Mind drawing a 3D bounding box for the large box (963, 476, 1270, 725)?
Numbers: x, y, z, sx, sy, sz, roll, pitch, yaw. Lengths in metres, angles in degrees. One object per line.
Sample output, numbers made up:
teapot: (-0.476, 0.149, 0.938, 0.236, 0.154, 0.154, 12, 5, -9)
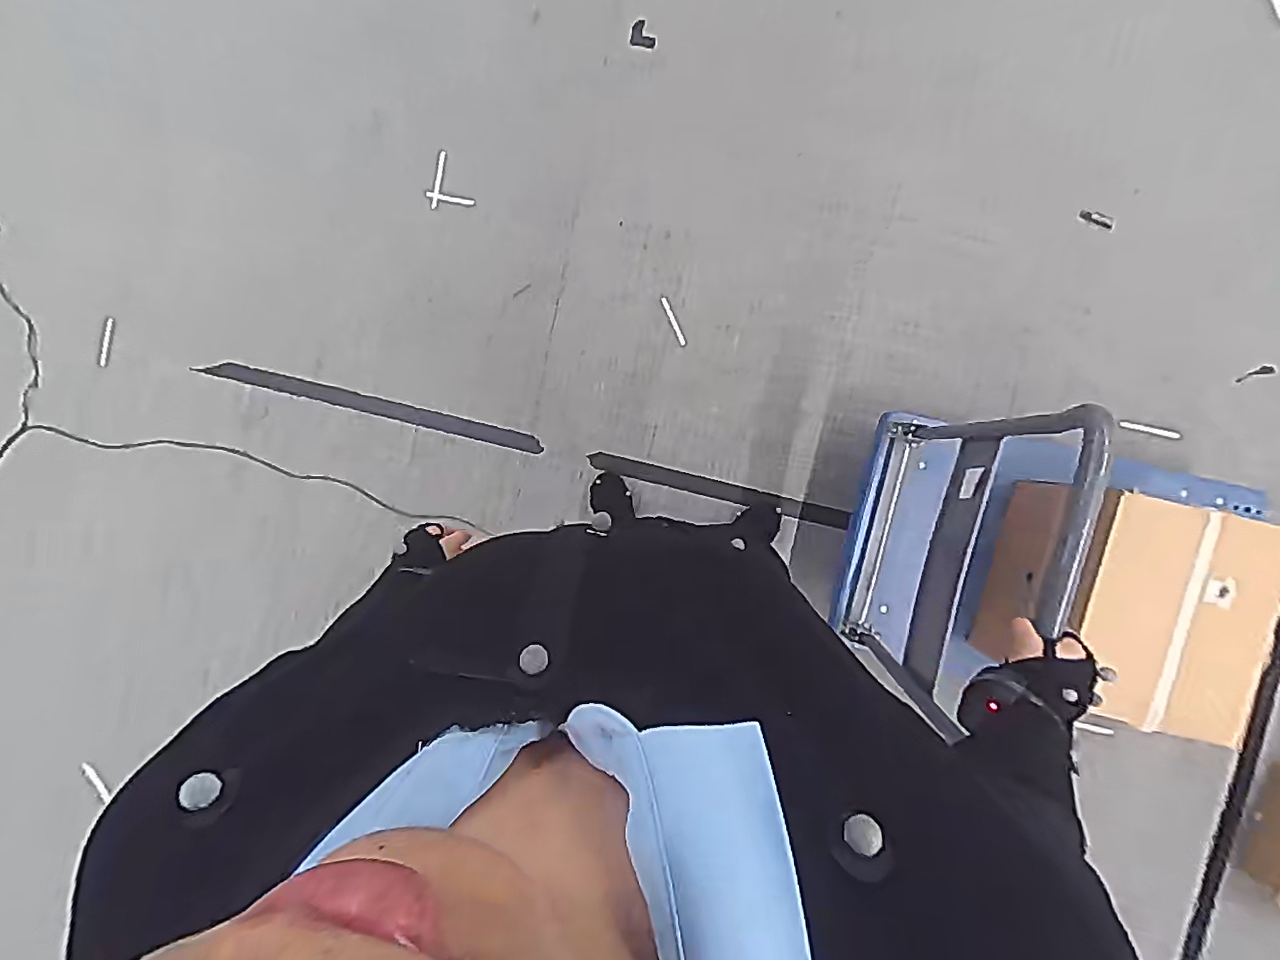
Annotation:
large box: (0.949, 0.221, 1.133, 0.320, 0.320, 0.408, 14, 93, 2)
